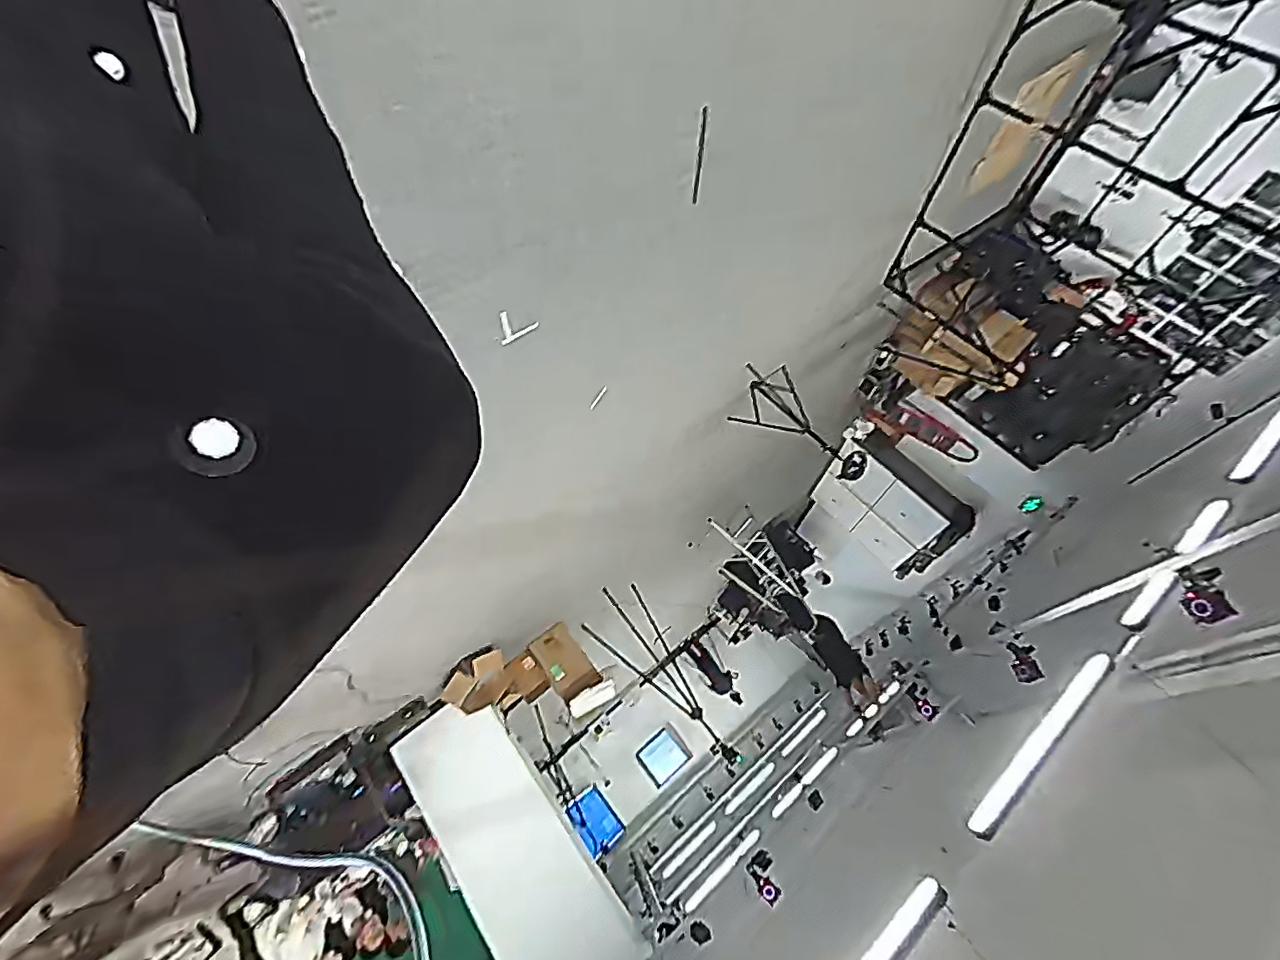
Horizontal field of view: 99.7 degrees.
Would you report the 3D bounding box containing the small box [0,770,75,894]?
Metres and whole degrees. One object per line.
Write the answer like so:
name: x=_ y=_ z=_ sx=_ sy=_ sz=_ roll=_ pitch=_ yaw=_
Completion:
small box: x=-1.316 y=0.716 z=1.086 sx=0.179 sy=0.176 sz=0.168 roll=-37 pitch=157 yaw=-13
